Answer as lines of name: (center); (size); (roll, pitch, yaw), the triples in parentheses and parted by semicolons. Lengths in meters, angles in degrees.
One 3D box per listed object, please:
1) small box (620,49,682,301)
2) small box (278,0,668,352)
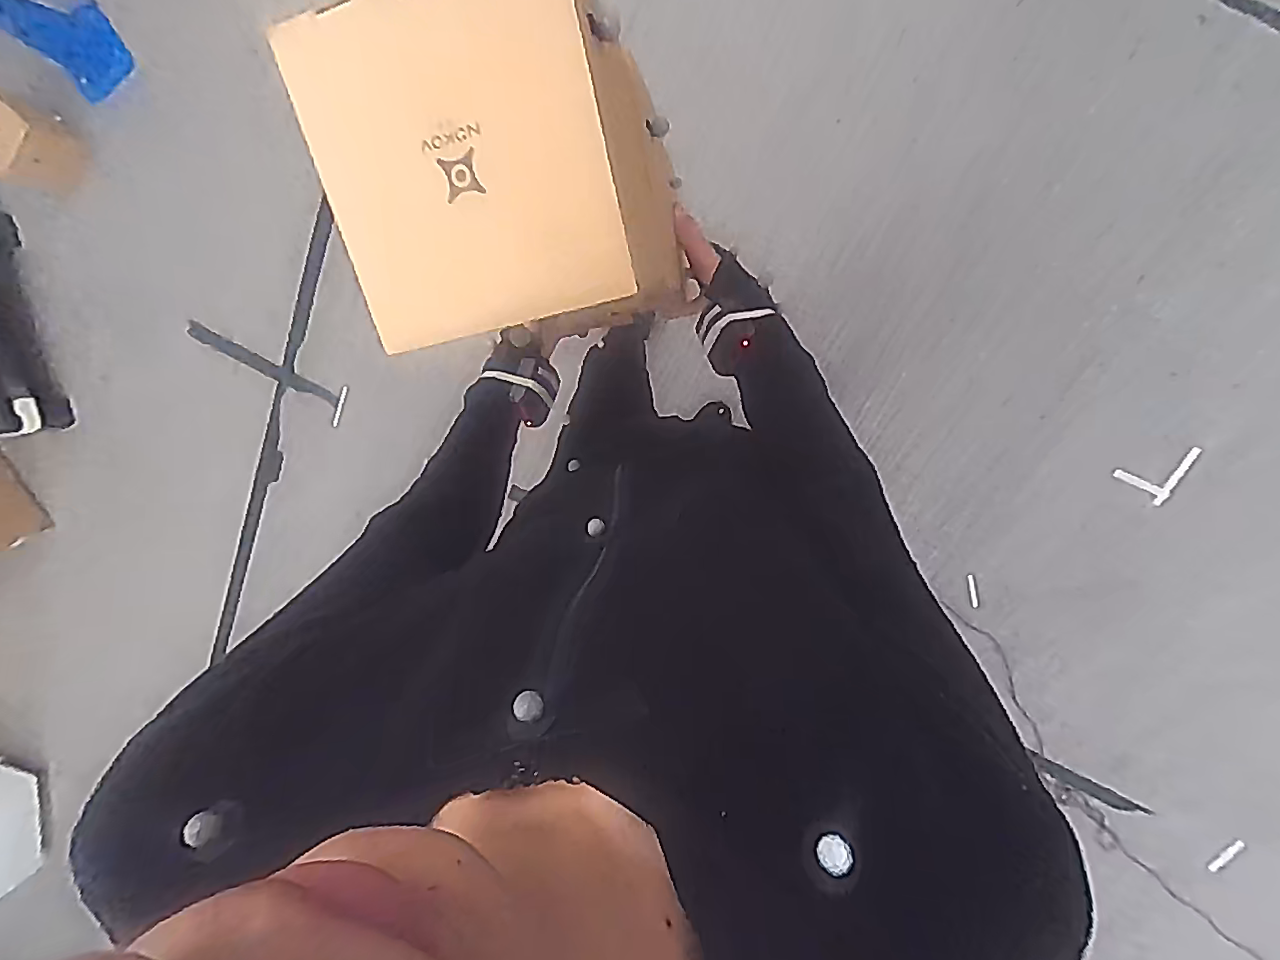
small box: (-0.056, -0.257, 0.515); (0.168, 0.176, 0.179); (-7, 109, 11)
small box: (-0.082, -0.198, 0.365); (0.168, 0.176, 0.179); (-10, 107, 12)
